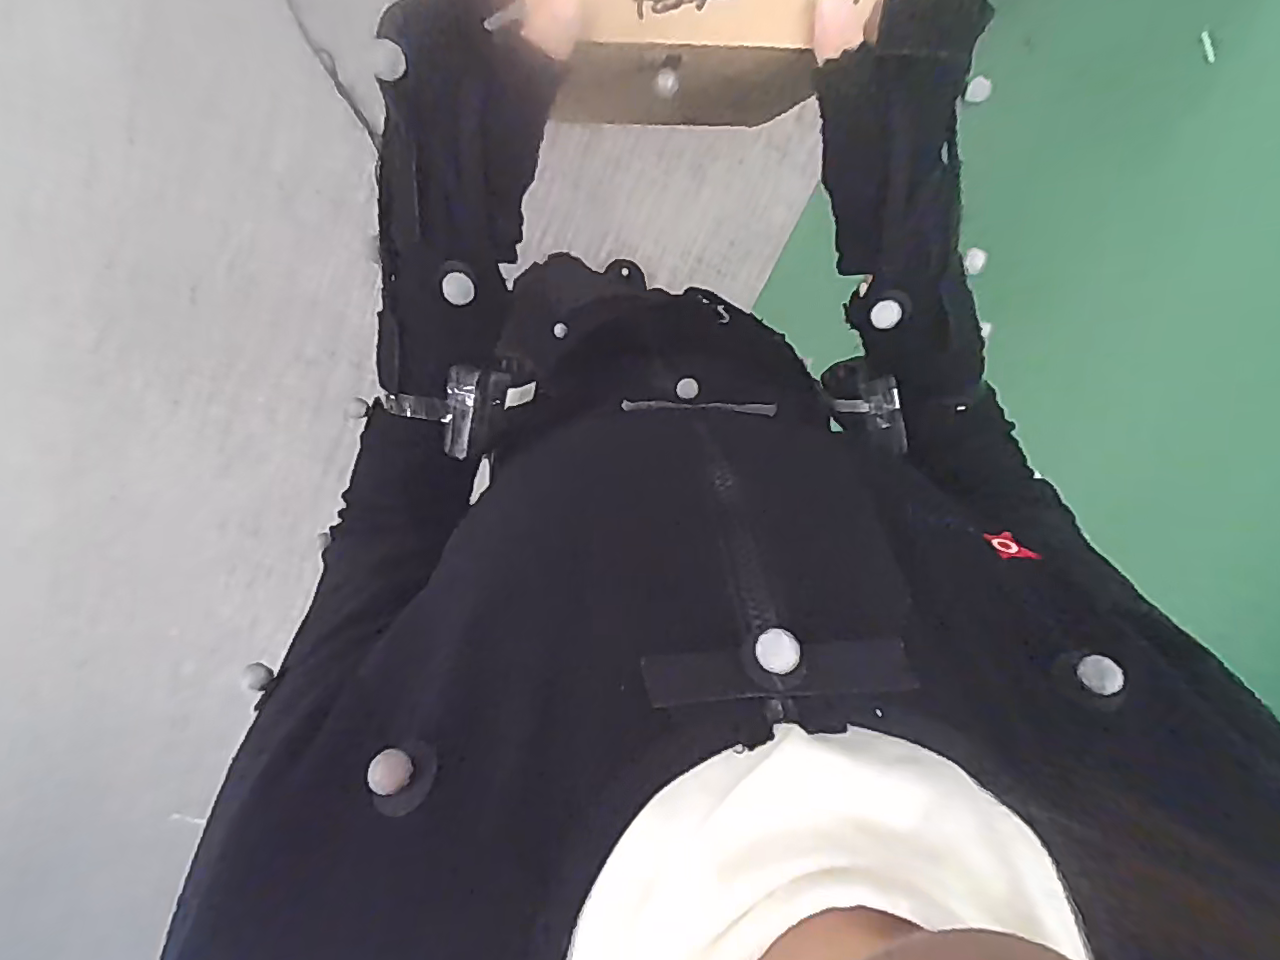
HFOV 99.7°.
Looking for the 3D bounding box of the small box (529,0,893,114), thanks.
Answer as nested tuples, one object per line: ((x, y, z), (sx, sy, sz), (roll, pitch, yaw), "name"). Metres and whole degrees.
((0.023, -0.314, 0.277), (0.168, 0.176, 0.179), (-3, 113, -6), "small box")
